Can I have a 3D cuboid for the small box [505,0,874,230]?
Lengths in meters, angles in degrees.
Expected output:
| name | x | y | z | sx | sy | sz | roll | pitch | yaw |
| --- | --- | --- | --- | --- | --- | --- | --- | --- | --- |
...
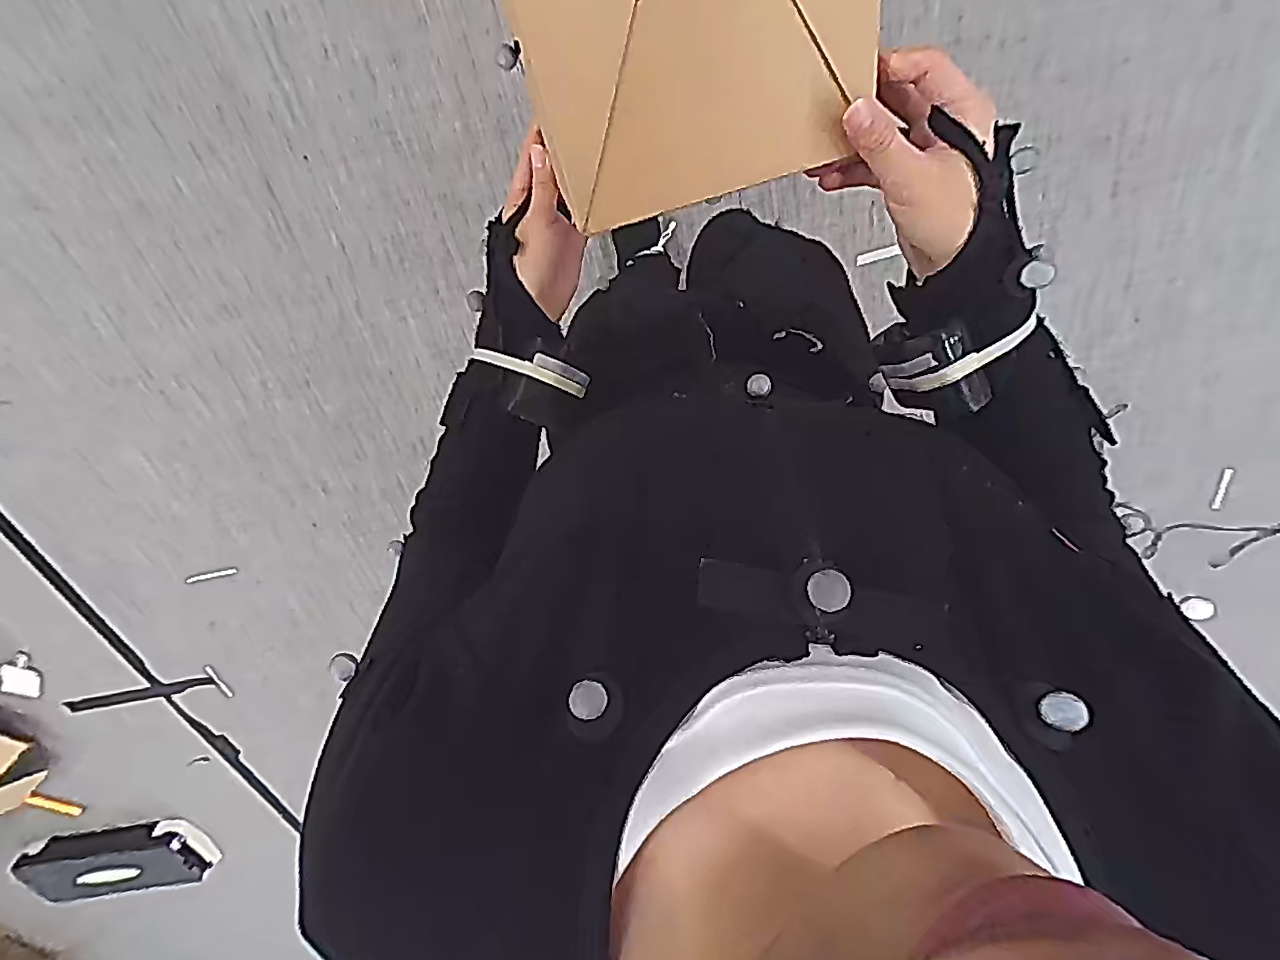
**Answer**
| name | x | y | z | sx | sy | sz | roll | pitch | yaw |
| --- | --- | --- | --- | --- | --- | --- | --- | --- | --- |
| small box | 0.013 | -0.268 | 0.297 | 0.168 | 0.176 | 0.179 | -17 | 131 | -1 |
